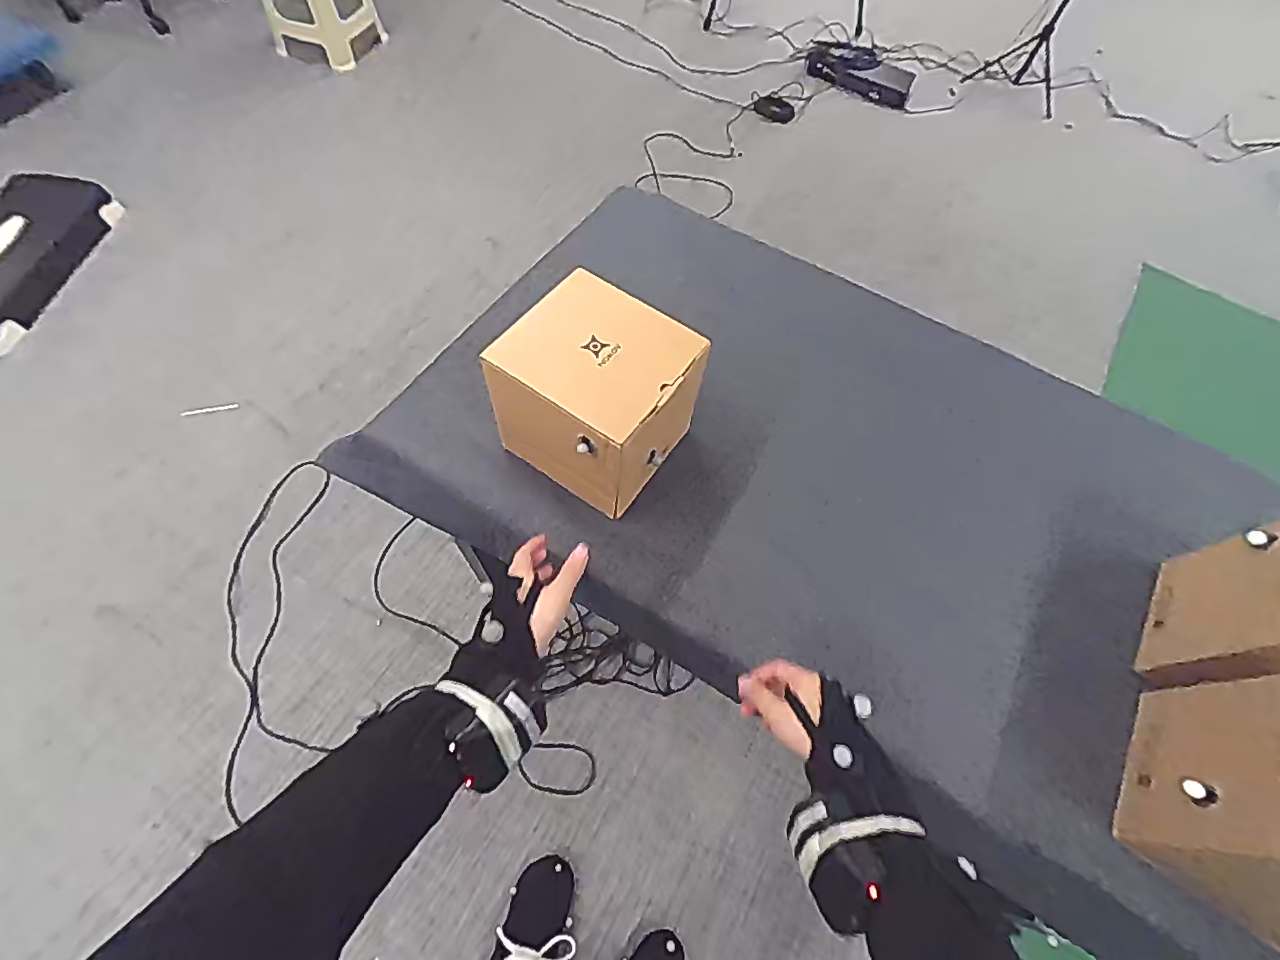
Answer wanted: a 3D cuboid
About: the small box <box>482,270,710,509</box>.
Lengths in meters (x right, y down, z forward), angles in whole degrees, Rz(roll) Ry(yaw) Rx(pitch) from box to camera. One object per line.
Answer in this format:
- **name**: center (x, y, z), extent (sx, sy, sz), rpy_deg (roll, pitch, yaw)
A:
- **small box**: center (-0.049, -0.094, 0.616), extent (0.179, 0.176, 0.168), rpy_deg (32, 63, 11)
